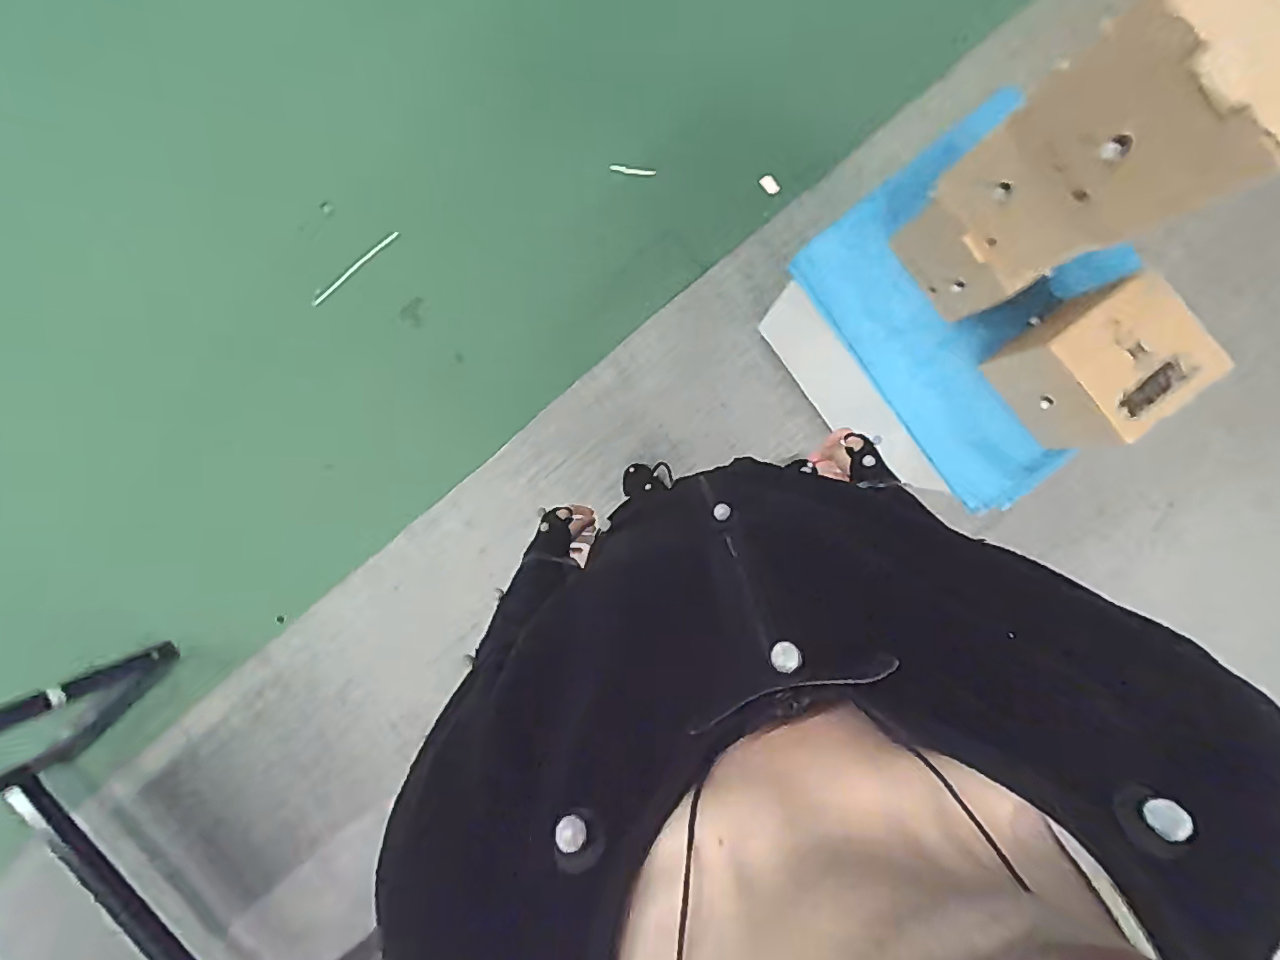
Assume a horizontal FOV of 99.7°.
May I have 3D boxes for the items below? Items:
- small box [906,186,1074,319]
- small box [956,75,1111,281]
[{"bbox_3d":[0.517,-0.358,0.776,0.179,0.176,0.168,-36,92,4],"label":"small box"},{"bbox_3d":[0.501,-0.359,0.615,0.179,0.176,0.168,-35,92,3],"label":"small box"}]
